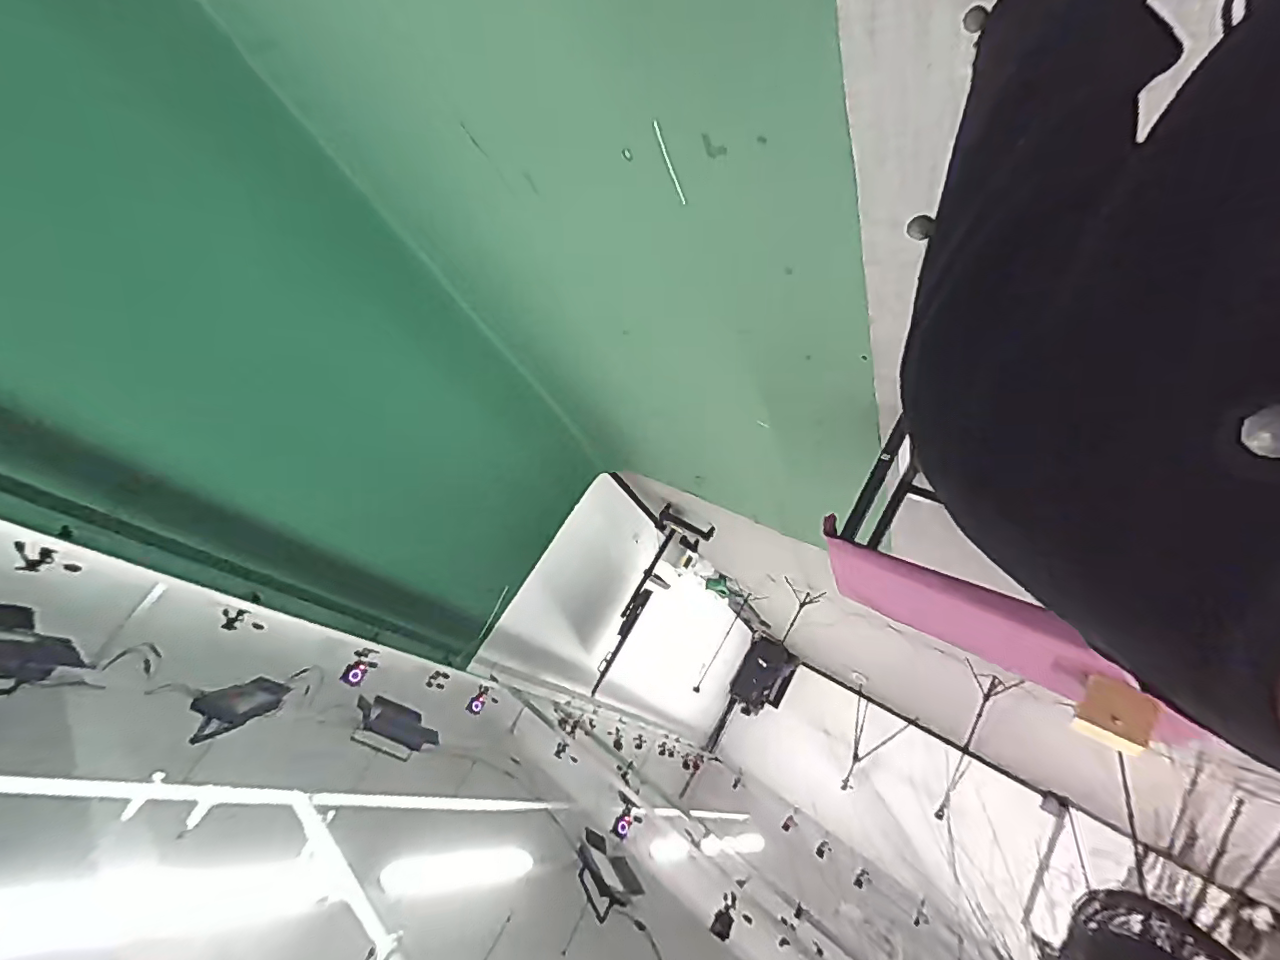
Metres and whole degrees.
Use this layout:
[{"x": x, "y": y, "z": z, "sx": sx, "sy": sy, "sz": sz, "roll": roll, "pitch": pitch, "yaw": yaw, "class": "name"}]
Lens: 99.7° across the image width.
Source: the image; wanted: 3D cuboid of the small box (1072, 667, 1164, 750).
[{"x": 1.530, "y": 0.729, "z": 1.732, "sx": 0.179, "sy": 0.176, "sz": 0.168, "roll": 22, "pitch": 162, "yaw": 39, "class": "small box"}]
